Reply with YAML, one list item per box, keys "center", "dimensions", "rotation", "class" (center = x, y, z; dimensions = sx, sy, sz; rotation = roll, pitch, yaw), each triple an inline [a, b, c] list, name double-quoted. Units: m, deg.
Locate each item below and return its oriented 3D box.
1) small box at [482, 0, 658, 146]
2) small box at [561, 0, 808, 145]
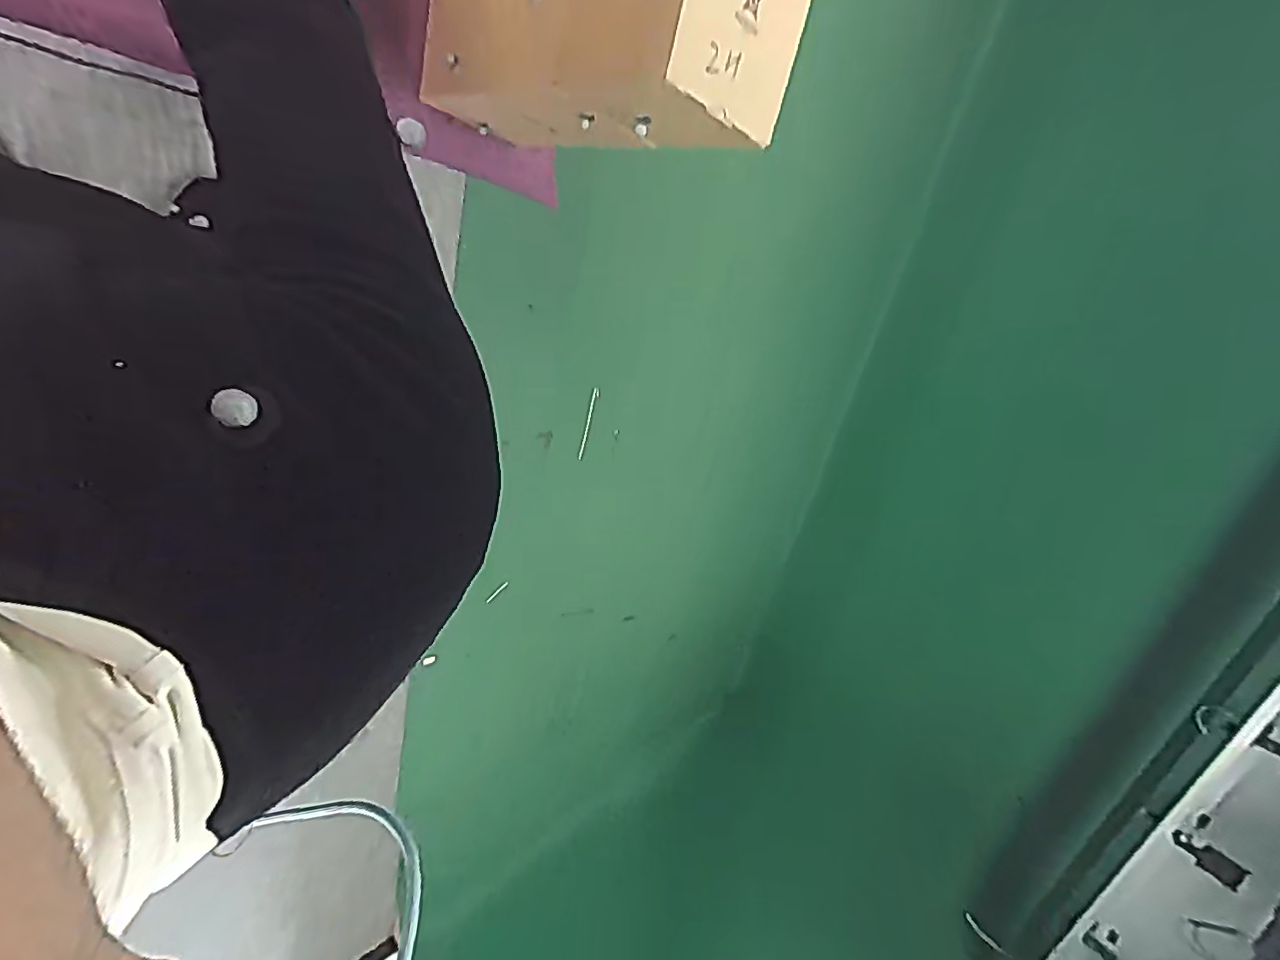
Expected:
- center: [-0.069, -0.524, 0.642]
  dimensions: [0.168, 0.176, 0.179]
  rotation: [-4, 116, -45]
  class: "small box"
- center: [0.042, -0.461, 0.538]
  dimensions: [0.168, 0.176, 0.179]
  rotation: [-5, 118, -45]
  class: "small box"
